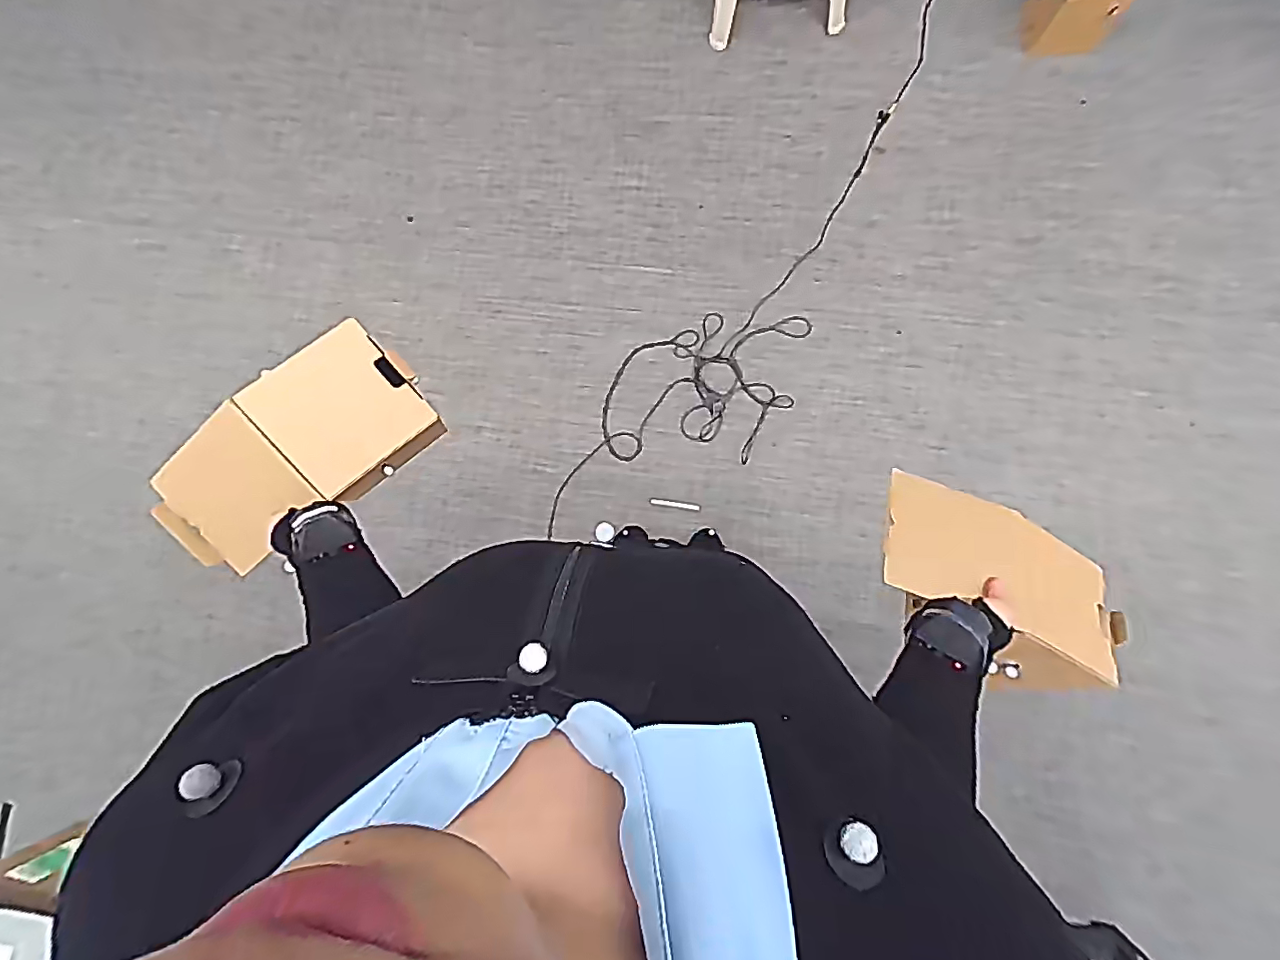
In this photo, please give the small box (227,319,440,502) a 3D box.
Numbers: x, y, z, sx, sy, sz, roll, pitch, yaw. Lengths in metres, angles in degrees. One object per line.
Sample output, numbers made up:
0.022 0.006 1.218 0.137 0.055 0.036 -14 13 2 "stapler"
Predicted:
-0.399 -0.085 0.745 0.179 0.176 0.168 -41 100 -13 "small box"
